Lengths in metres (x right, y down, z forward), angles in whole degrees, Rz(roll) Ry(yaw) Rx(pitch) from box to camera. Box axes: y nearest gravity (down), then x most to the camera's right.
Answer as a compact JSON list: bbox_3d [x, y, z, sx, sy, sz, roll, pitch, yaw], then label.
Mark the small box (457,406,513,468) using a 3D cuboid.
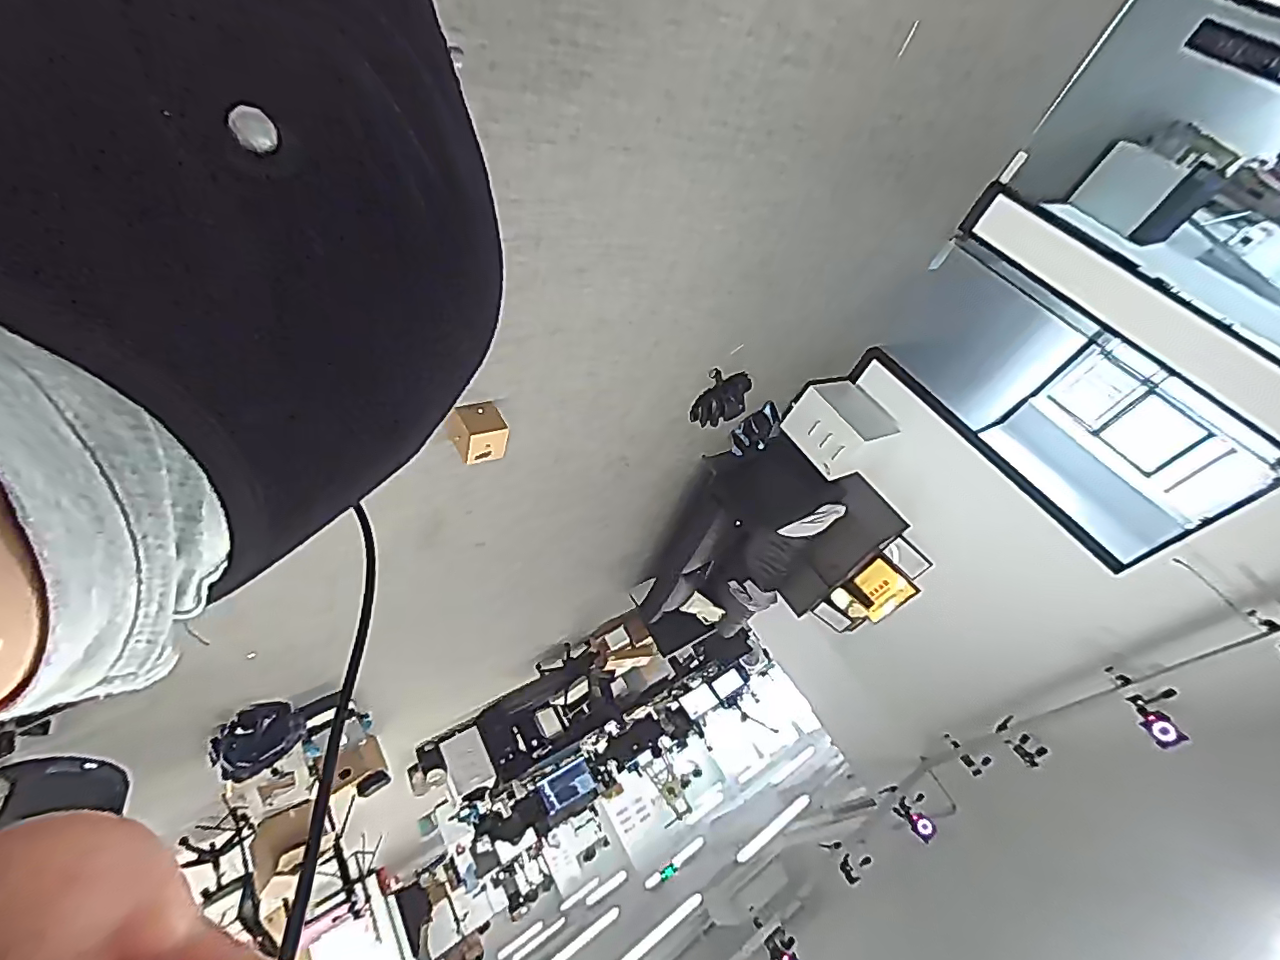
[{"bbox_3d":[-0.643,-0.179,2.223,0.168,0.176,0.179,-17,147,-35],"label":"small box"}]
